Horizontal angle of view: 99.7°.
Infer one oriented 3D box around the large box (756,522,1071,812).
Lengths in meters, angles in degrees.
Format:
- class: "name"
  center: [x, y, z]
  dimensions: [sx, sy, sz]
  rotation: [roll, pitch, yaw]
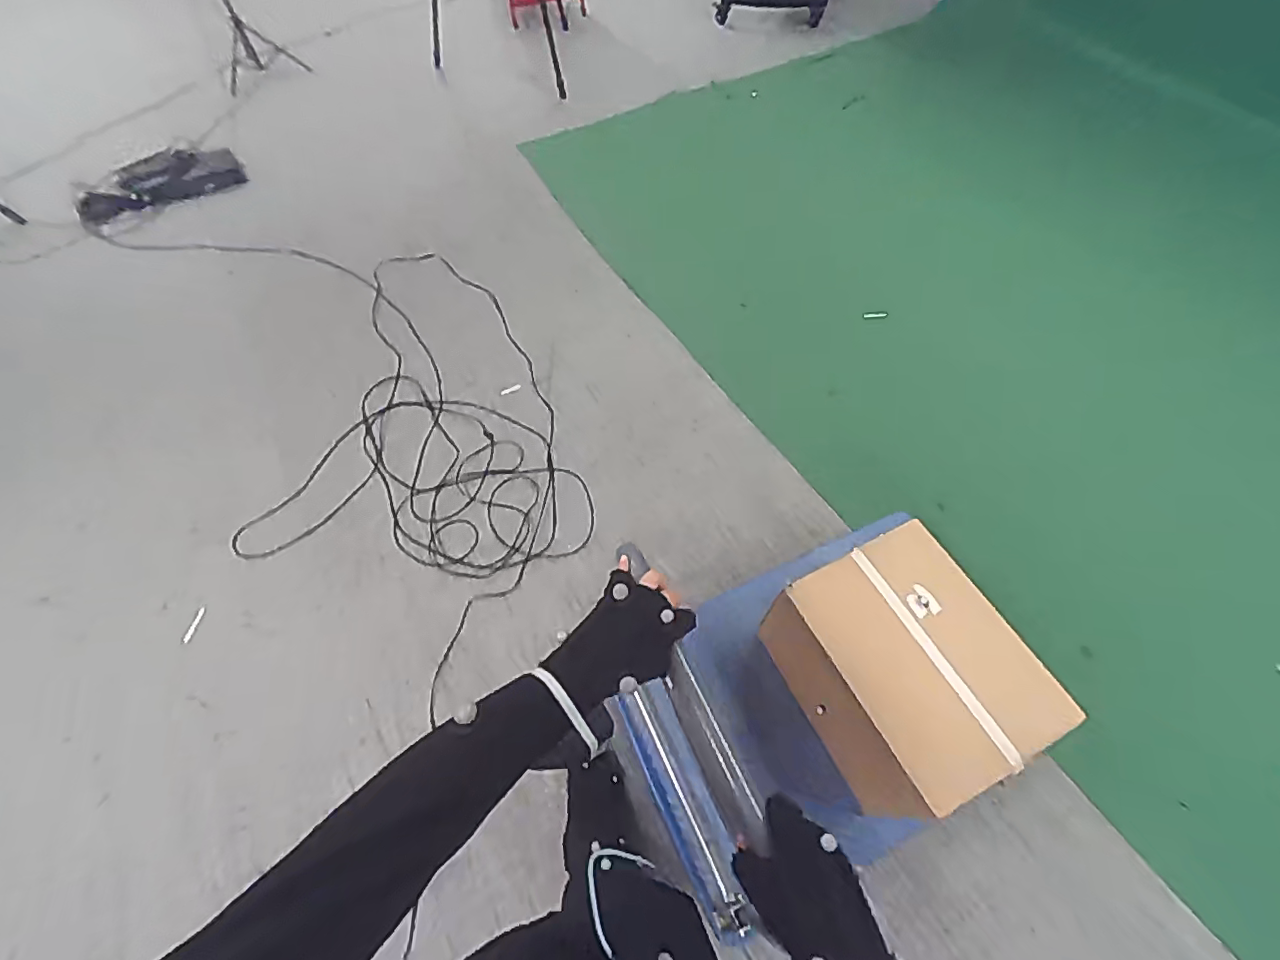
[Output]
- class: "large box"
  center: [0.485, 0.367, 1.065]
  dimensions: [0.320, 0.320, 0.408]
  rotation: [-23, 61, -13]
